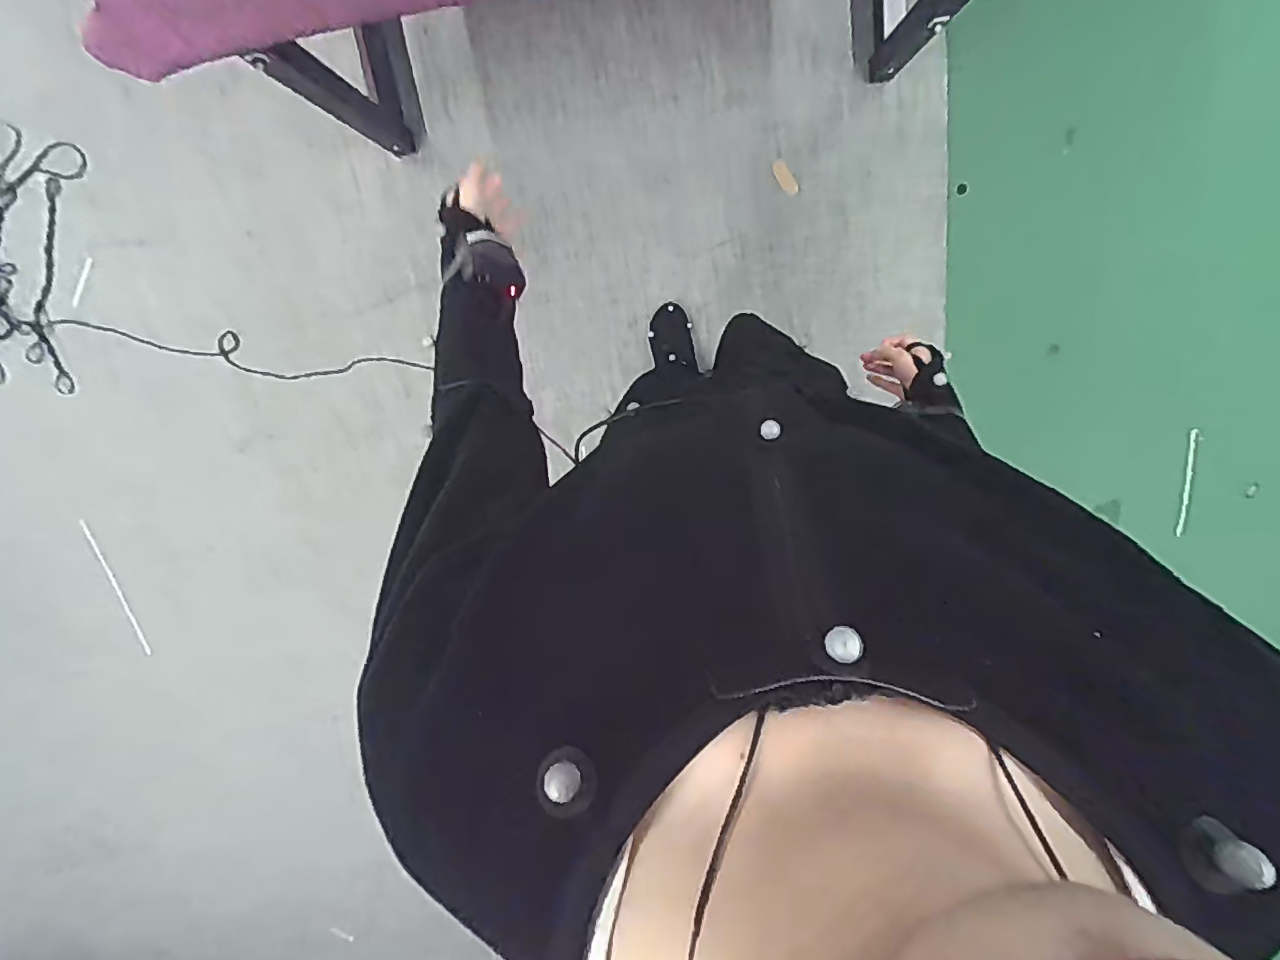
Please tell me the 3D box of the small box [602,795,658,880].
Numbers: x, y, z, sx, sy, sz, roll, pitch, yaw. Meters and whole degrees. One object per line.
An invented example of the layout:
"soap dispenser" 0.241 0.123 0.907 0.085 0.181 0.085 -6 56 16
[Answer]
"small box" -0.030 1.155 1.760 0.168 0.176 0.179 -4 106 4

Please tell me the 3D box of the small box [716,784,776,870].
"small box" 0.337 1.108 1.737 0.168 0.176 0.179 -3 106 3
